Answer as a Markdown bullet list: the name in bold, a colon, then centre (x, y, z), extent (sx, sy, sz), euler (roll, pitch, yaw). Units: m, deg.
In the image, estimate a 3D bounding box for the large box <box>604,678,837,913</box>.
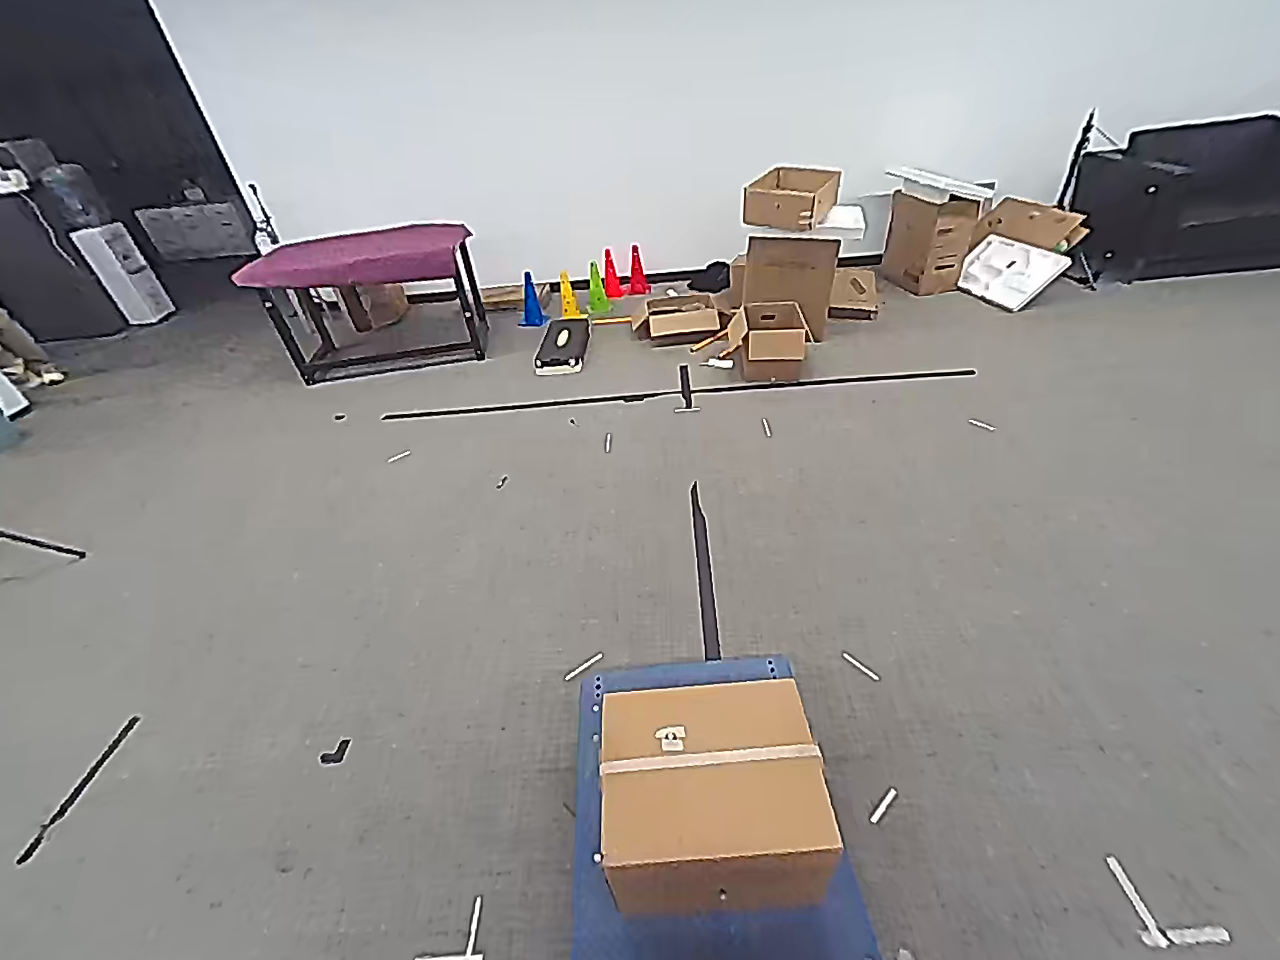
- **large box**: centre (0.146, 0.654, 1.123), extent (0.408, 0.320, 0.320), euler (-7, 37, 1)
